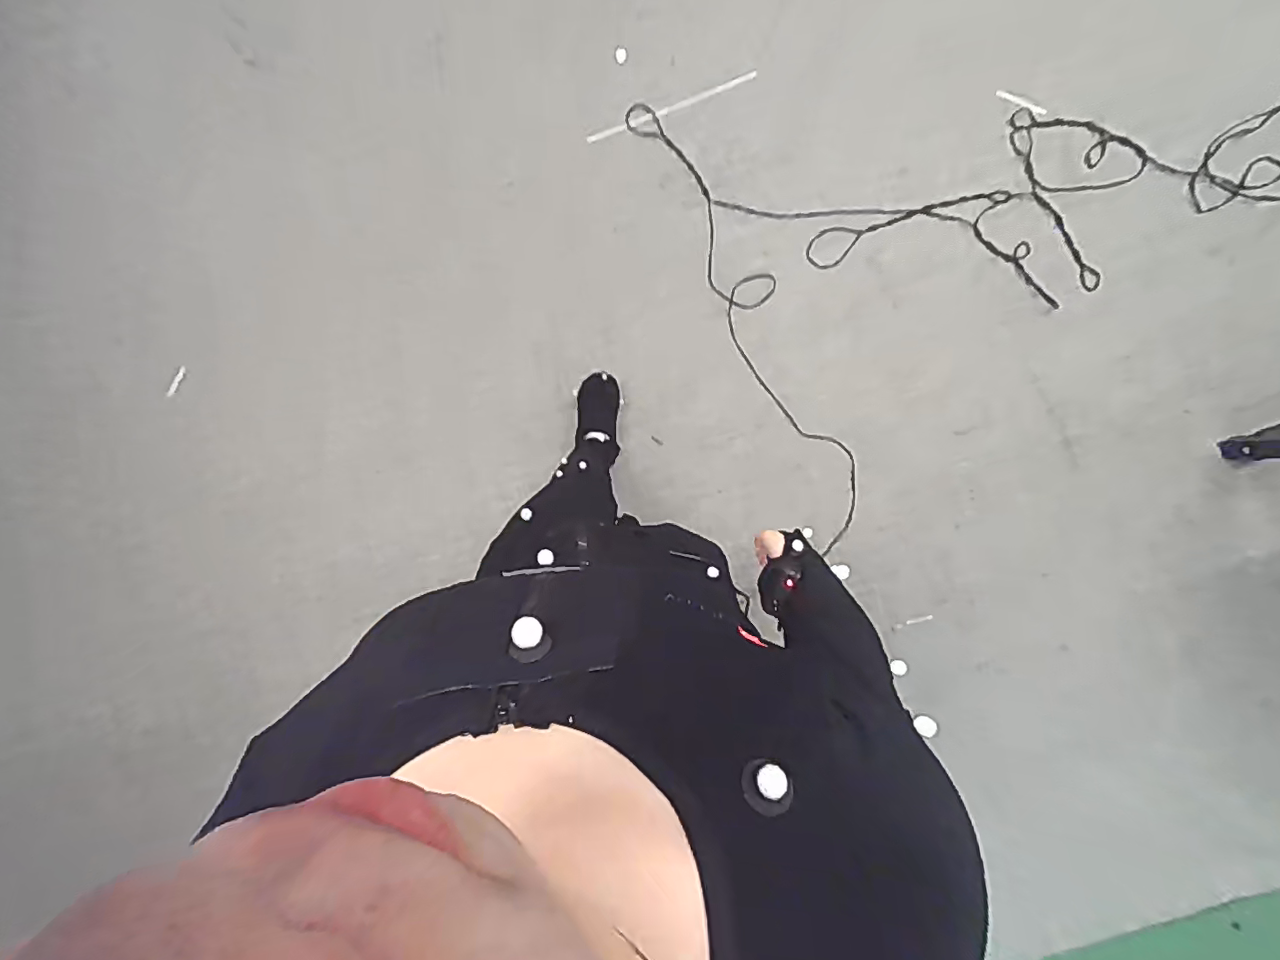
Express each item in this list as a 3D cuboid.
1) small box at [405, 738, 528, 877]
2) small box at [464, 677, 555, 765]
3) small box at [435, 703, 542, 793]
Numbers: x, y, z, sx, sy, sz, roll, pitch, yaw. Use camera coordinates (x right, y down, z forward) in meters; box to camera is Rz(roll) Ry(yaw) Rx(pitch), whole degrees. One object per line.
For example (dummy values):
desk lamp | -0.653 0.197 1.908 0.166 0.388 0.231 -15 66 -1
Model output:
small box | -0.345 0.658 1.105 0.179 0.176 0.168 -12 91 1
small box | -0.339 0.646 1.432 0.179 0.176 0.168 -13 92 1
small box | -0.347 0.650 1.268 0.179 0.176 0.168 -15 92 2
